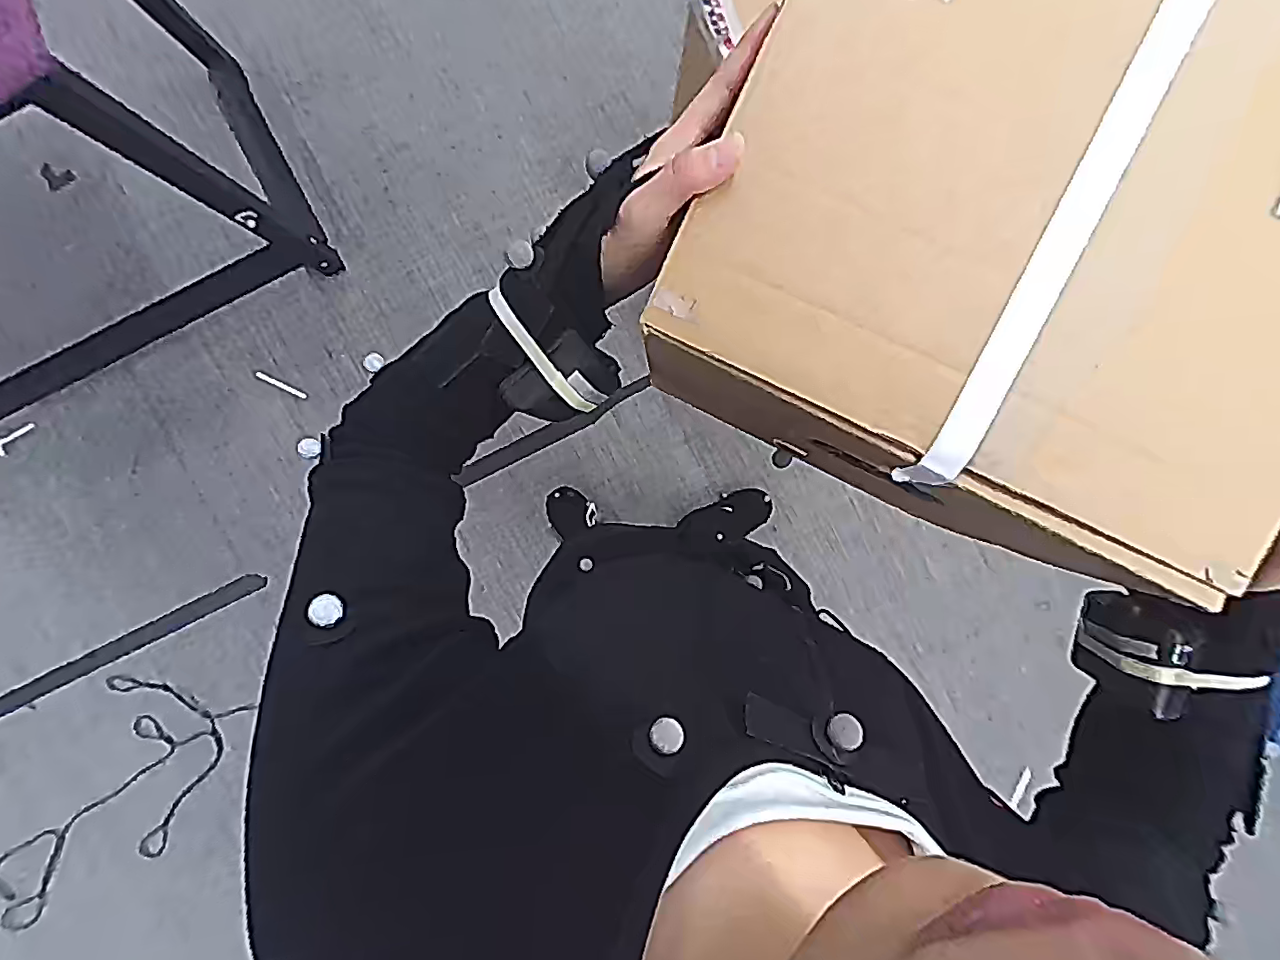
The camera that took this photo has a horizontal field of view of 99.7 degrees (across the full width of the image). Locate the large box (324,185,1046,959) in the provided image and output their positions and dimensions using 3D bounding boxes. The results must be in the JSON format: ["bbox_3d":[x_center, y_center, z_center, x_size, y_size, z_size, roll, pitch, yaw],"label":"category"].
[{"bbox_3d":[0.065,0.066,0.394,0.320,0.320,0.408,-5,114,43],"label":"large box"}]
